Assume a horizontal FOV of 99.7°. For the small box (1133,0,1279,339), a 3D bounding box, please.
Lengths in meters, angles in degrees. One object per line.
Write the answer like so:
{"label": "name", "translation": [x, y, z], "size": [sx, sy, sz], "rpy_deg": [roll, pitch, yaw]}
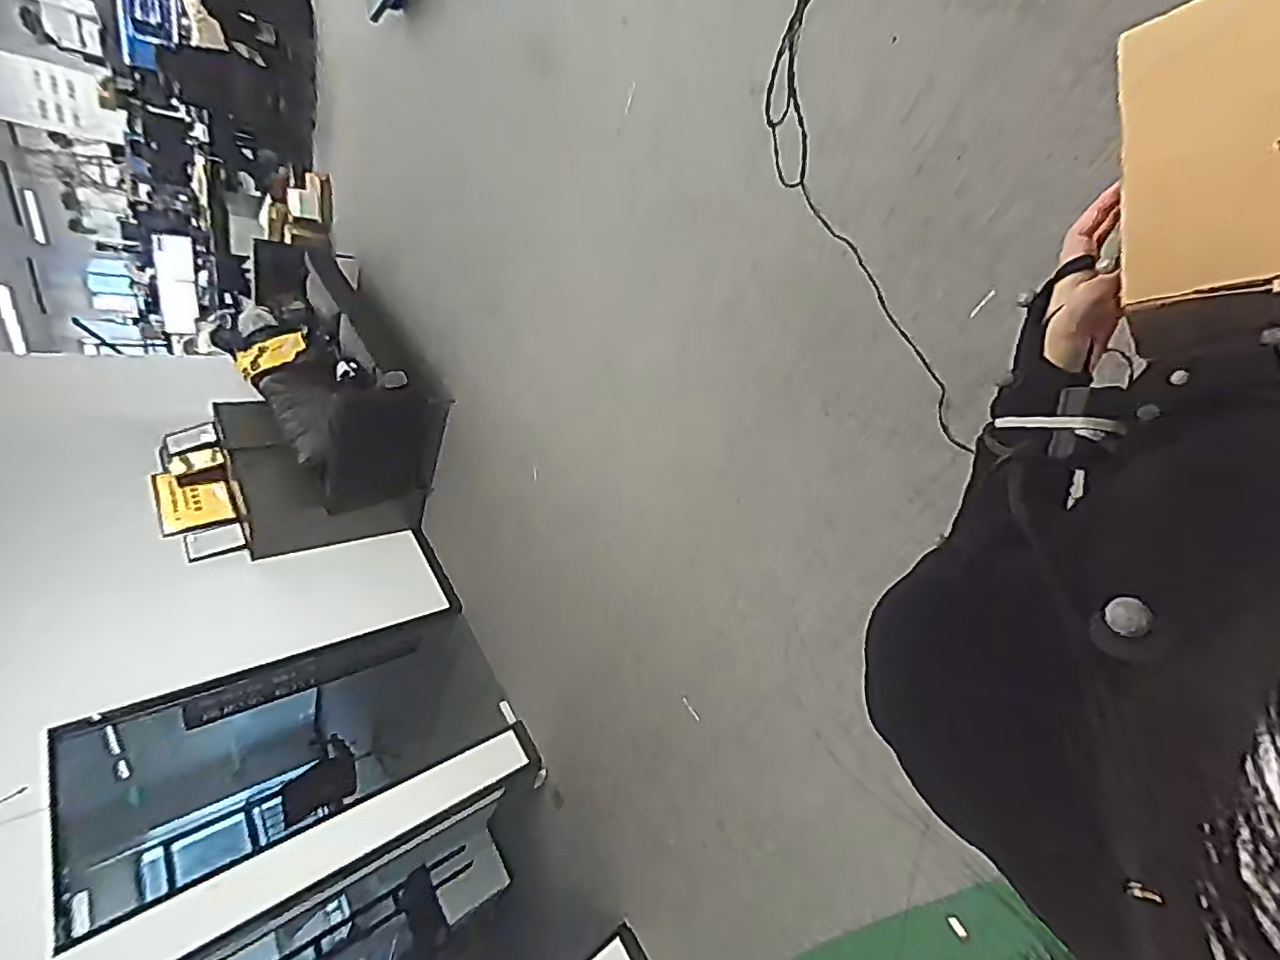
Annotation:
{"label": "small box", "translation": [0.423, -0.203, 0.338], "size": [0.168, 0.176, 0.179], "rpy_deg": [-2, 88, 46]}
